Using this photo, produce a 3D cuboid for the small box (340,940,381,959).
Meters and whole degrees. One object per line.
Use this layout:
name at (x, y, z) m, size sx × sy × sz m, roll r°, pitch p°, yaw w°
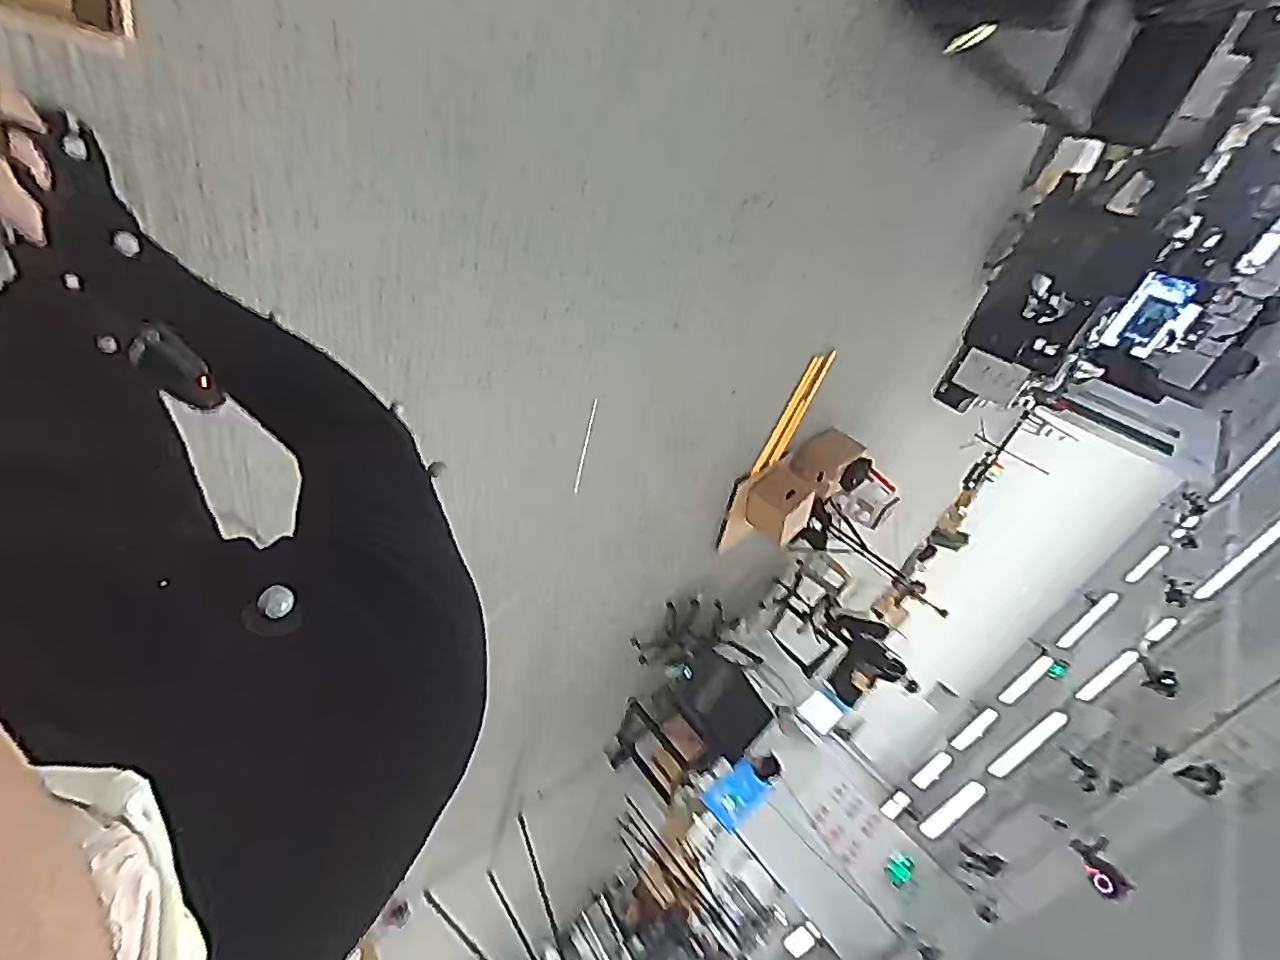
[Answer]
small box at (-0.722, 1.318, 1.360) m, size 0.168 × 0.176 × 0.179 m, roll -22°, pitch 138°, yaw -36°
